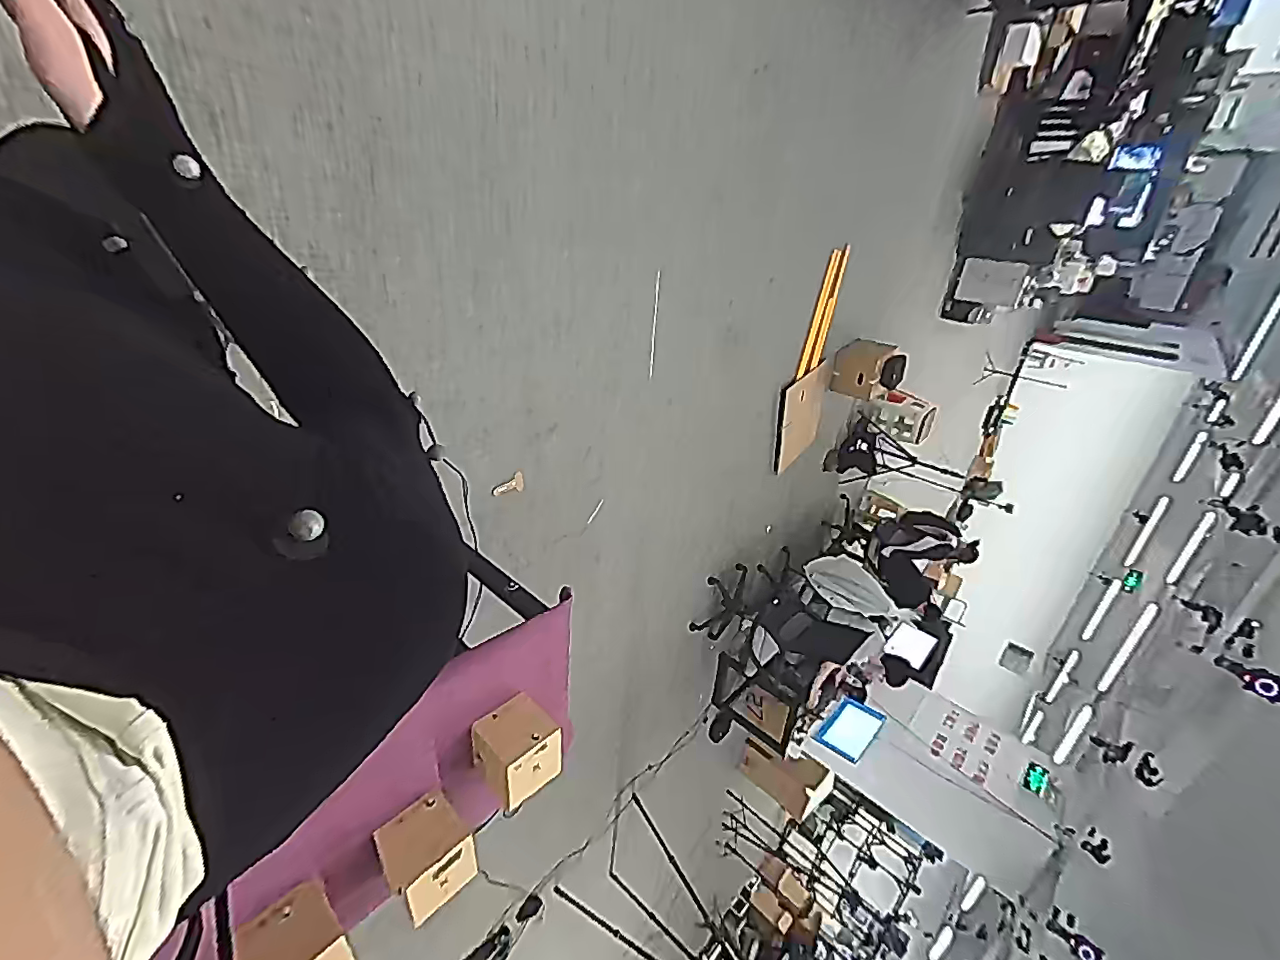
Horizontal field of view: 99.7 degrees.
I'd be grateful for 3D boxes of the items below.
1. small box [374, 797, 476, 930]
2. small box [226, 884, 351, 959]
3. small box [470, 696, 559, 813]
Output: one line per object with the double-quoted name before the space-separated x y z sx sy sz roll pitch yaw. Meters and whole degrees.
"small box" -0.518 0.908 1.302 0.168 0.176 0.179 -24 129 -42
"small box" -0.711 0.990 1.109 0.168 0.176 0.179 -26 128 -43
"small box" -0.330 0.713 1.422 0.168 0.176 0.179 -22 127 -43
